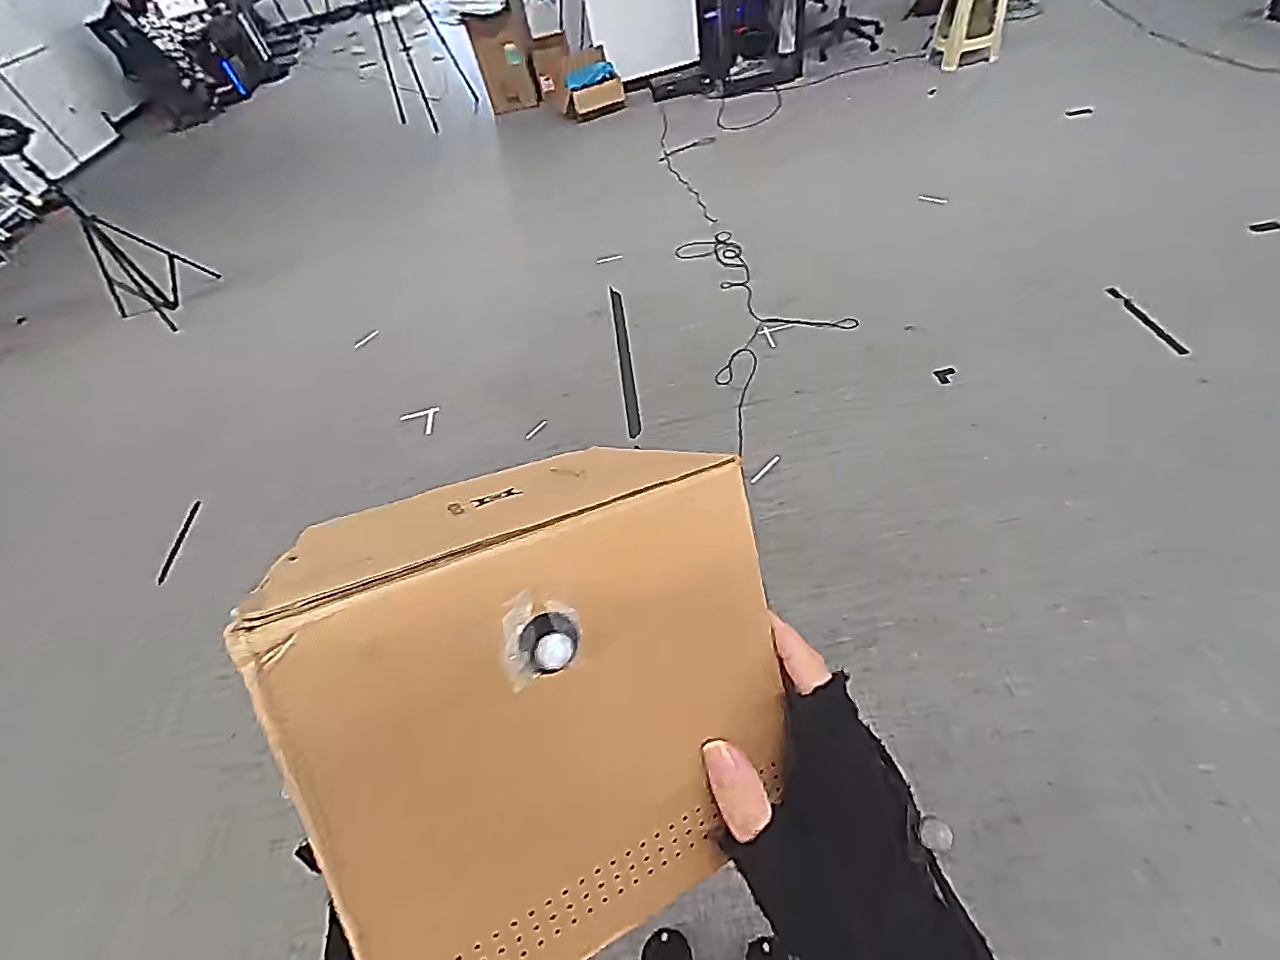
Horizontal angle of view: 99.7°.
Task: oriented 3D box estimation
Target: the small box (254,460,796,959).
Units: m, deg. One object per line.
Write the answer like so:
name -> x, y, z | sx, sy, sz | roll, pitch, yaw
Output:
small box -> -0.047, 0.094, 0.269 | 0.179, 0.176, 0.168 | -17, 11, -23
